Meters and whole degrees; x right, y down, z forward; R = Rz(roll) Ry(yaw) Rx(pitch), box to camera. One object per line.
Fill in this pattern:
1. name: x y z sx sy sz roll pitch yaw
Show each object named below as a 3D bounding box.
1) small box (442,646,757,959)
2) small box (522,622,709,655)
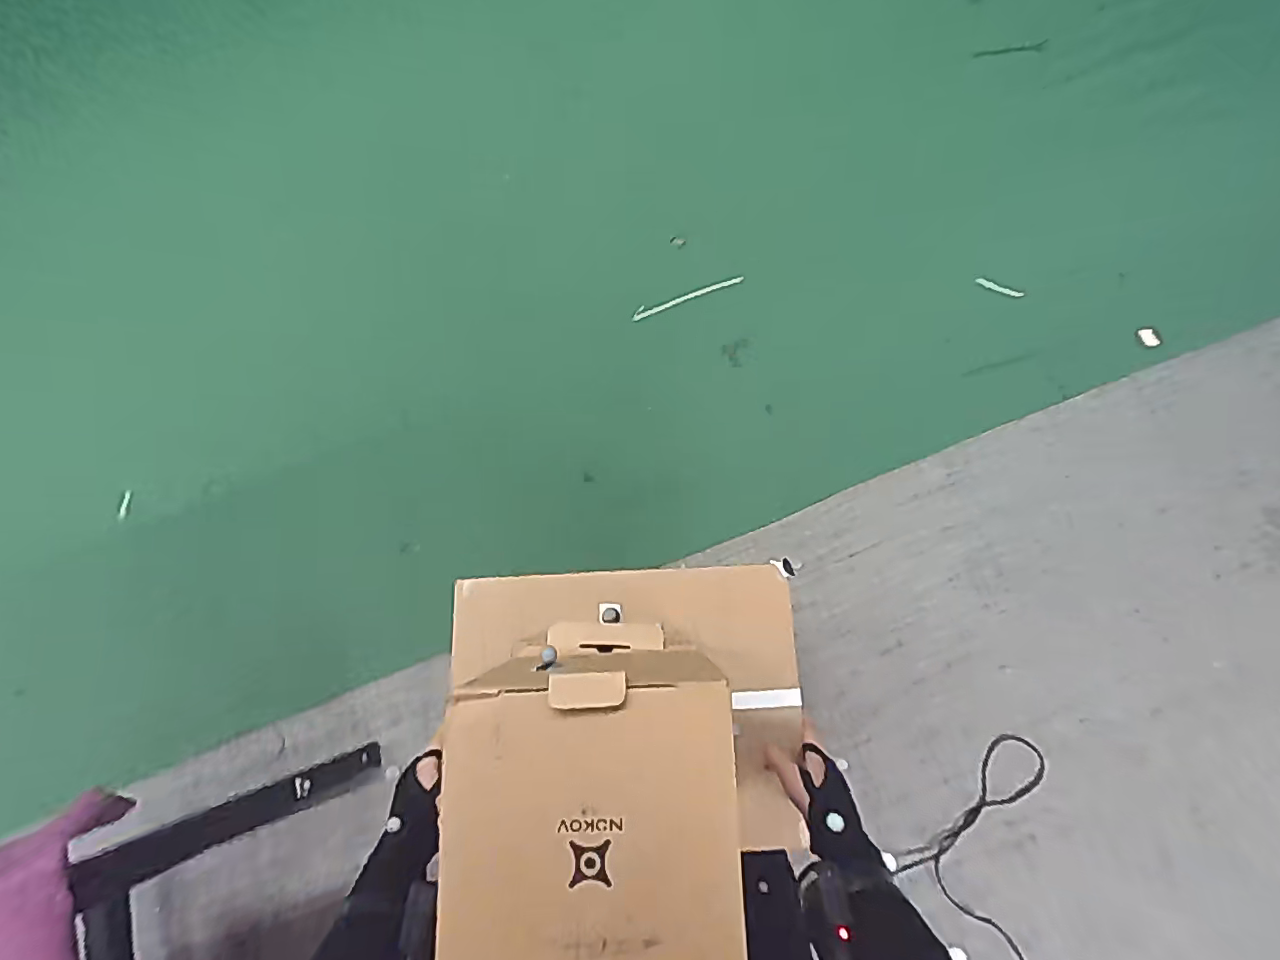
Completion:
1. small box: -0.021 0.209 0.369 0.168 0.176 0.179 -1 79 0
2. small box: -0.025 0.234 0.530 0.168 0.176 0.179 1 79 1
